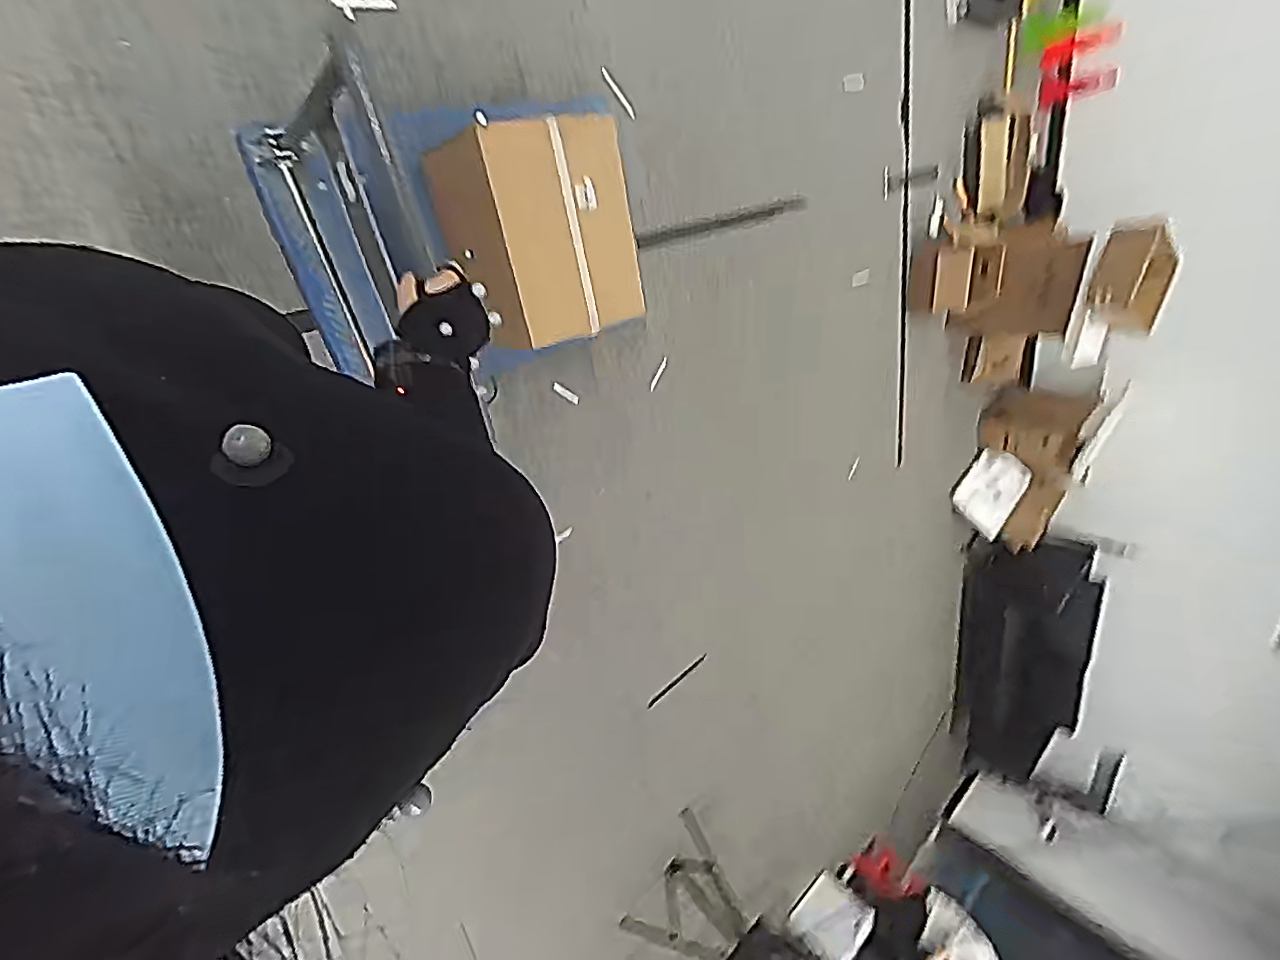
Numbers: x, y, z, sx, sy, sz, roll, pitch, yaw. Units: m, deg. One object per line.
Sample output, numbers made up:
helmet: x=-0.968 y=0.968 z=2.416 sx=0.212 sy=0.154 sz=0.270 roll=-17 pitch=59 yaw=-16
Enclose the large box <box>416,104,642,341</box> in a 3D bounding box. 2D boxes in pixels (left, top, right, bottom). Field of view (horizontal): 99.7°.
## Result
large box: x=-0.241 y=-0.551 z=1.204 sx=0.320 sy=0.320 sz=0.408 roll=-29 pitch=120 yaw=-32
